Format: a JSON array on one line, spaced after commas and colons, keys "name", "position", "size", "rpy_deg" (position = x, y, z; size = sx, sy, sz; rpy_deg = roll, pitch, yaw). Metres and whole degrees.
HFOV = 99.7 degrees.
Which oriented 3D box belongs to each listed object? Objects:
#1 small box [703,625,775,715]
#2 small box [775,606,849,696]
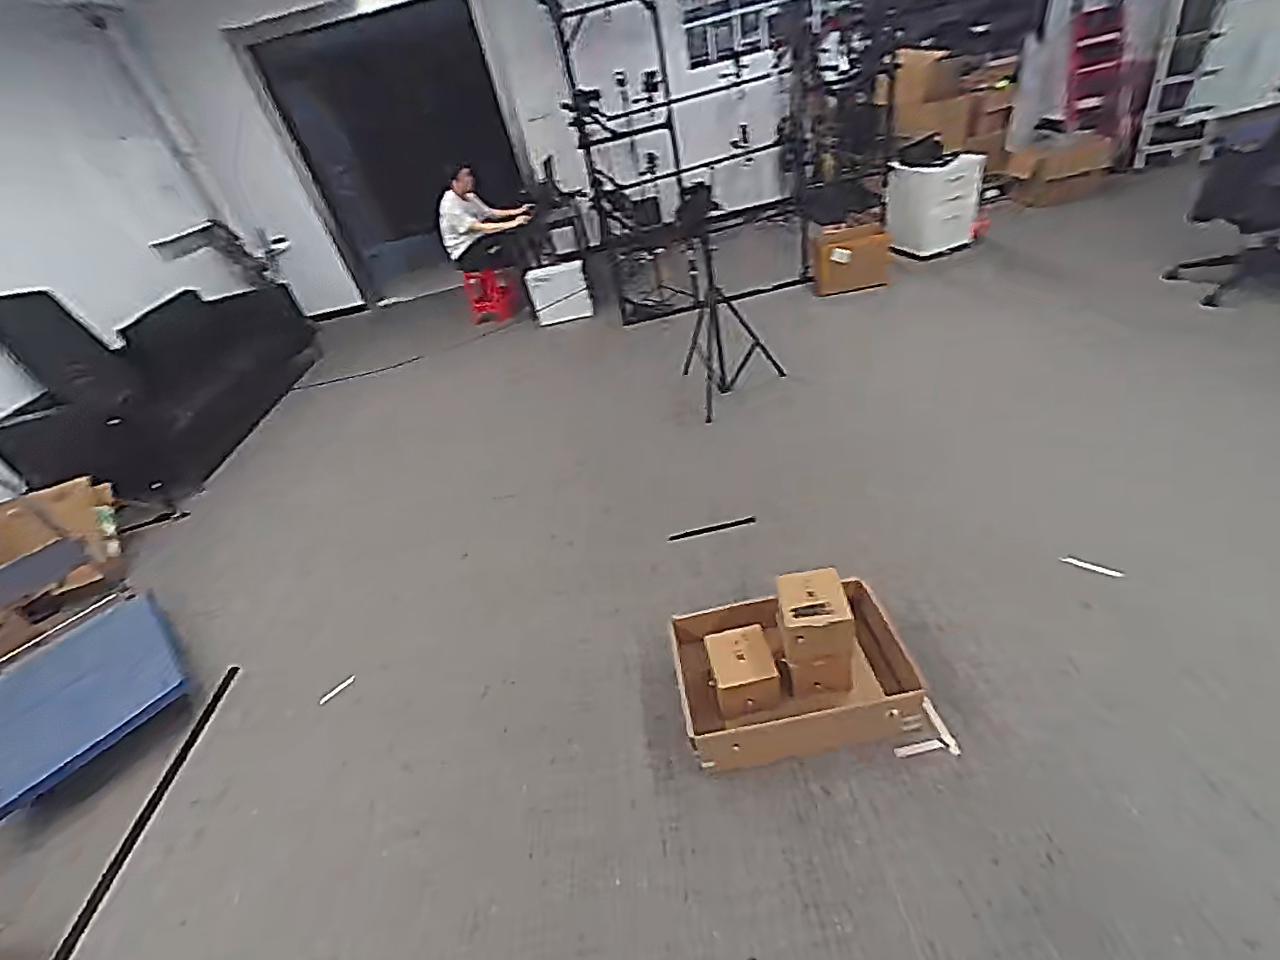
[{"name": "small box", "position": [0.286, 0.552, 1.554], "size": [0.168, 0.176, 0.179], "rpy_deg": [-12, 37, -1]}, {"name": "small box", "position": [0.495, 0.496, 1.563], "size": [0.168, 0.176, 0.179], "rpy_deg": [-12, 38, 7]}]
